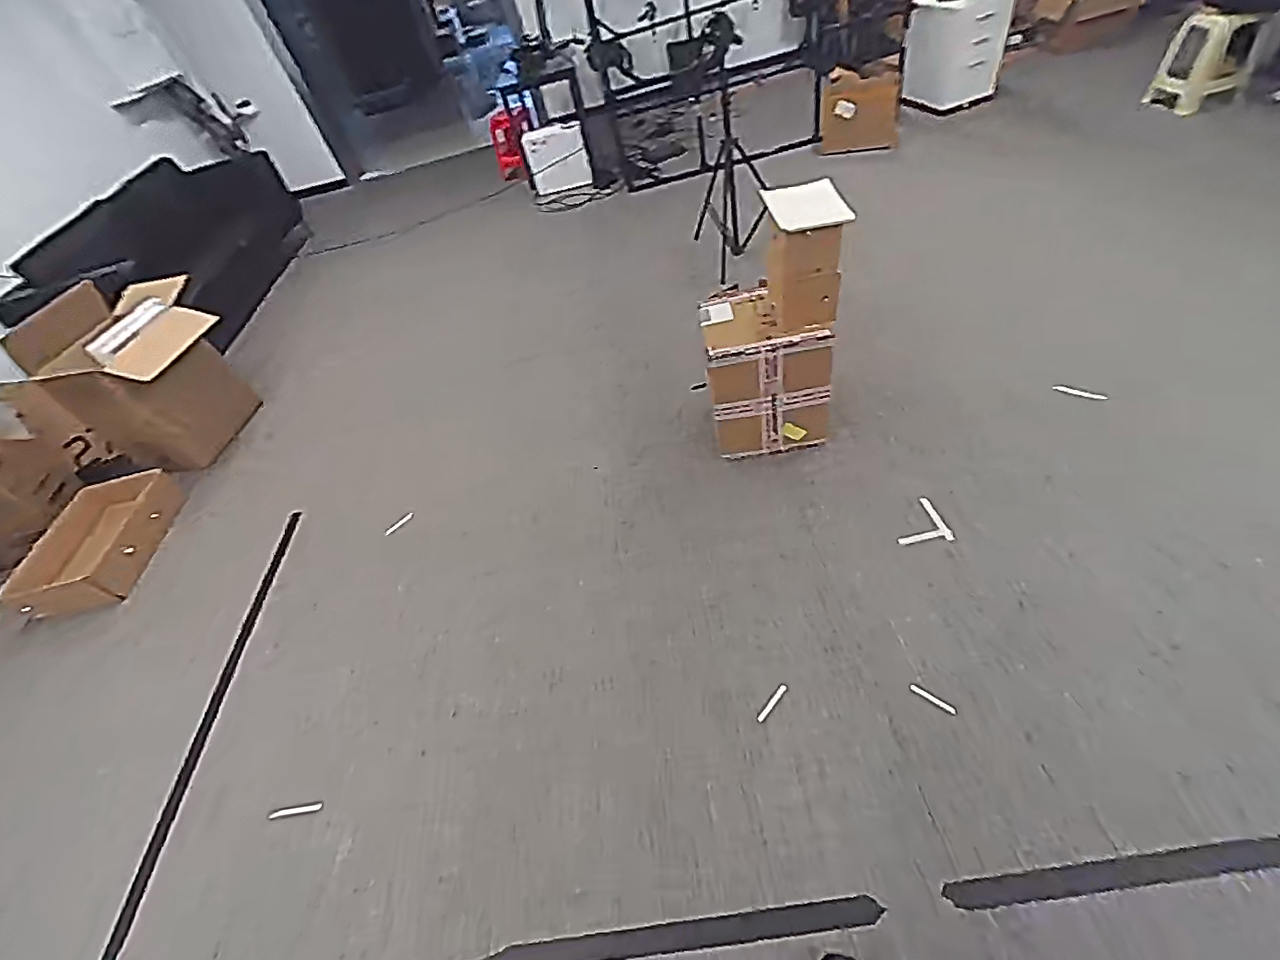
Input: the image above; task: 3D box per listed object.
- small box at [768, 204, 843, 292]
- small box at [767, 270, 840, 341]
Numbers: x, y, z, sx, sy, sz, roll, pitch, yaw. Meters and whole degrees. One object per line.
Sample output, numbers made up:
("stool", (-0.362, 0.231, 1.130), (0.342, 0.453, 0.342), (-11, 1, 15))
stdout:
("small box", (0.476, -0.677, 1.586), (0.168, 0.176, 0.179), (-11, 47, 3))
("small box", (0.507, -0.564, 1.700), (0.179, 0.176, 0.168), (-13, 47, 2))
